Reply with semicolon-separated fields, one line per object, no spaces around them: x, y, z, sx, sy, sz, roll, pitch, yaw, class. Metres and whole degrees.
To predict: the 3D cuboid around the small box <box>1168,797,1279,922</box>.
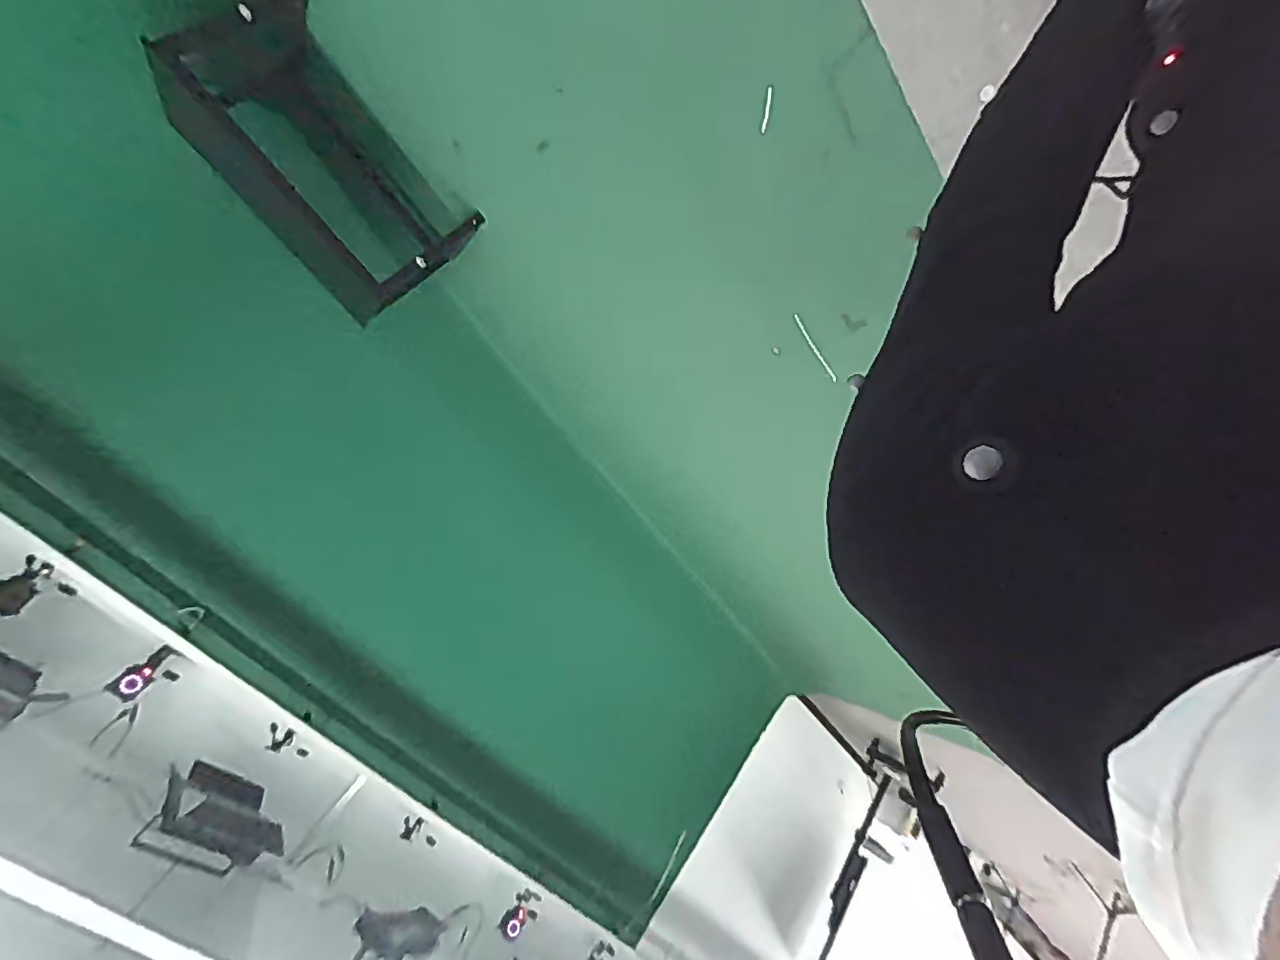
1.464;0.930;1.345;0.168;0.176;0.179;51;154;-23;small box
